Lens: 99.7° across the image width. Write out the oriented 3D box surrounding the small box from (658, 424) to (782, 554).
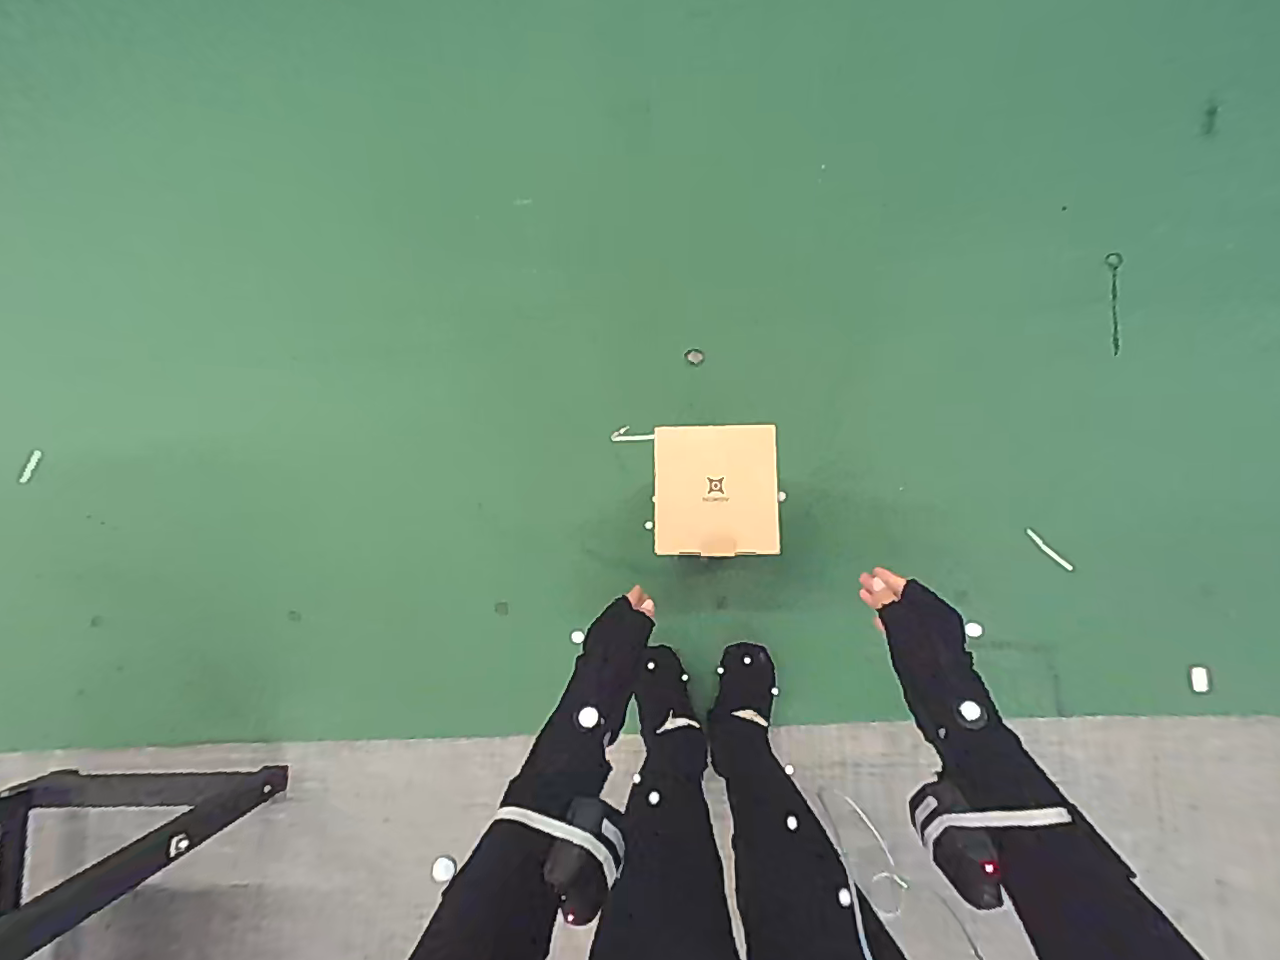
[{"bbox_3d":[0.109,0.020,0.800,0.168,0.176,0.179,-1,84,3],"label":"small box"}]
